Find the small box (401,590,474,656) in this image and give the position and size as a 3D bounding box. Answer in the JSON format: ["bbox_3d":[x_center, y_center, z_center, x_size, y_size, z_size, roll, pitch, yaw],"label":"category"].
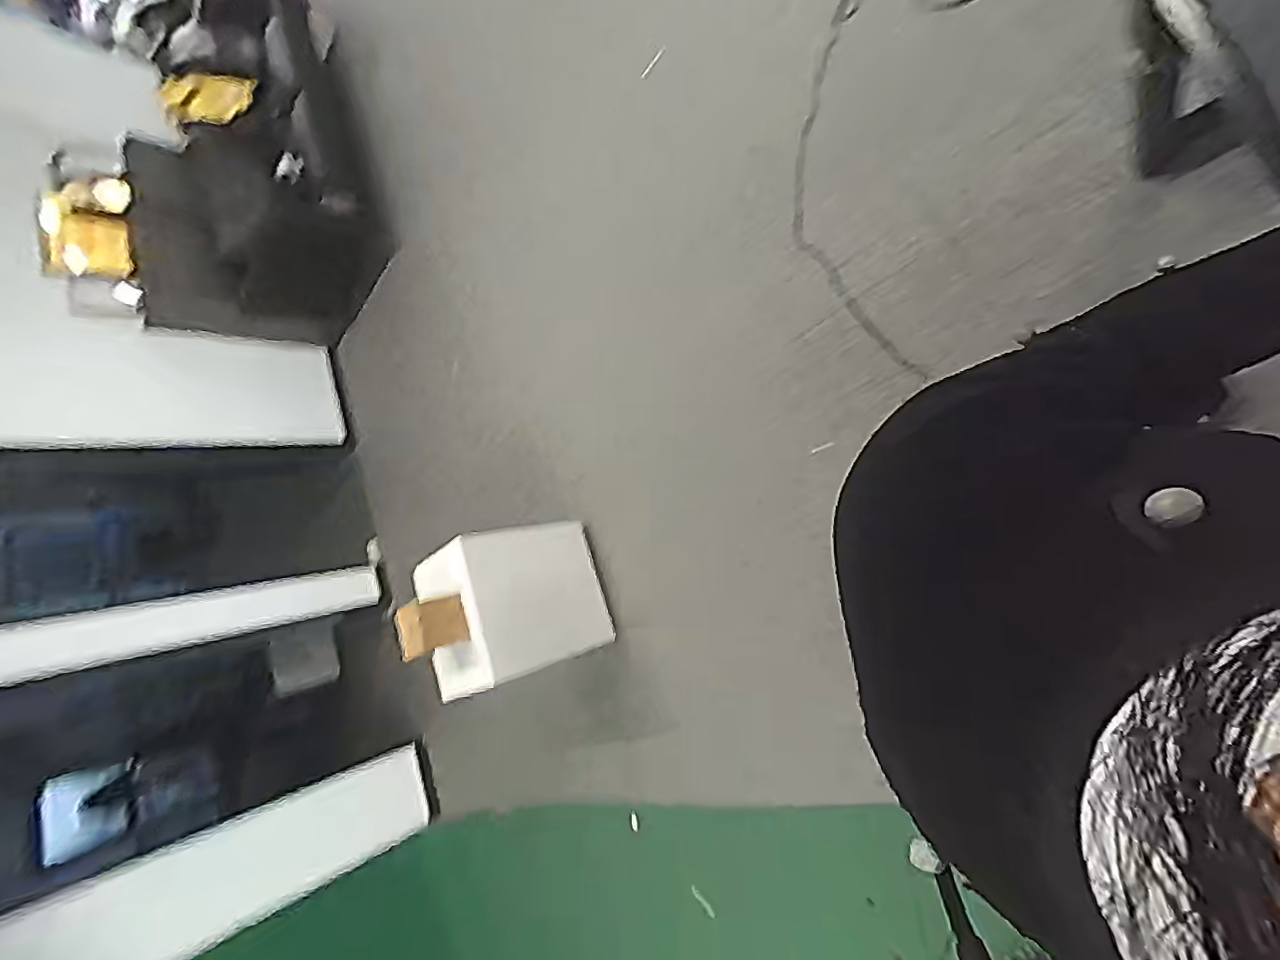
[{"bbox_3d":[-0.695,0.489,1.859,0.179,0.176,0.168,-31,72,41],"label":"small box"}]
